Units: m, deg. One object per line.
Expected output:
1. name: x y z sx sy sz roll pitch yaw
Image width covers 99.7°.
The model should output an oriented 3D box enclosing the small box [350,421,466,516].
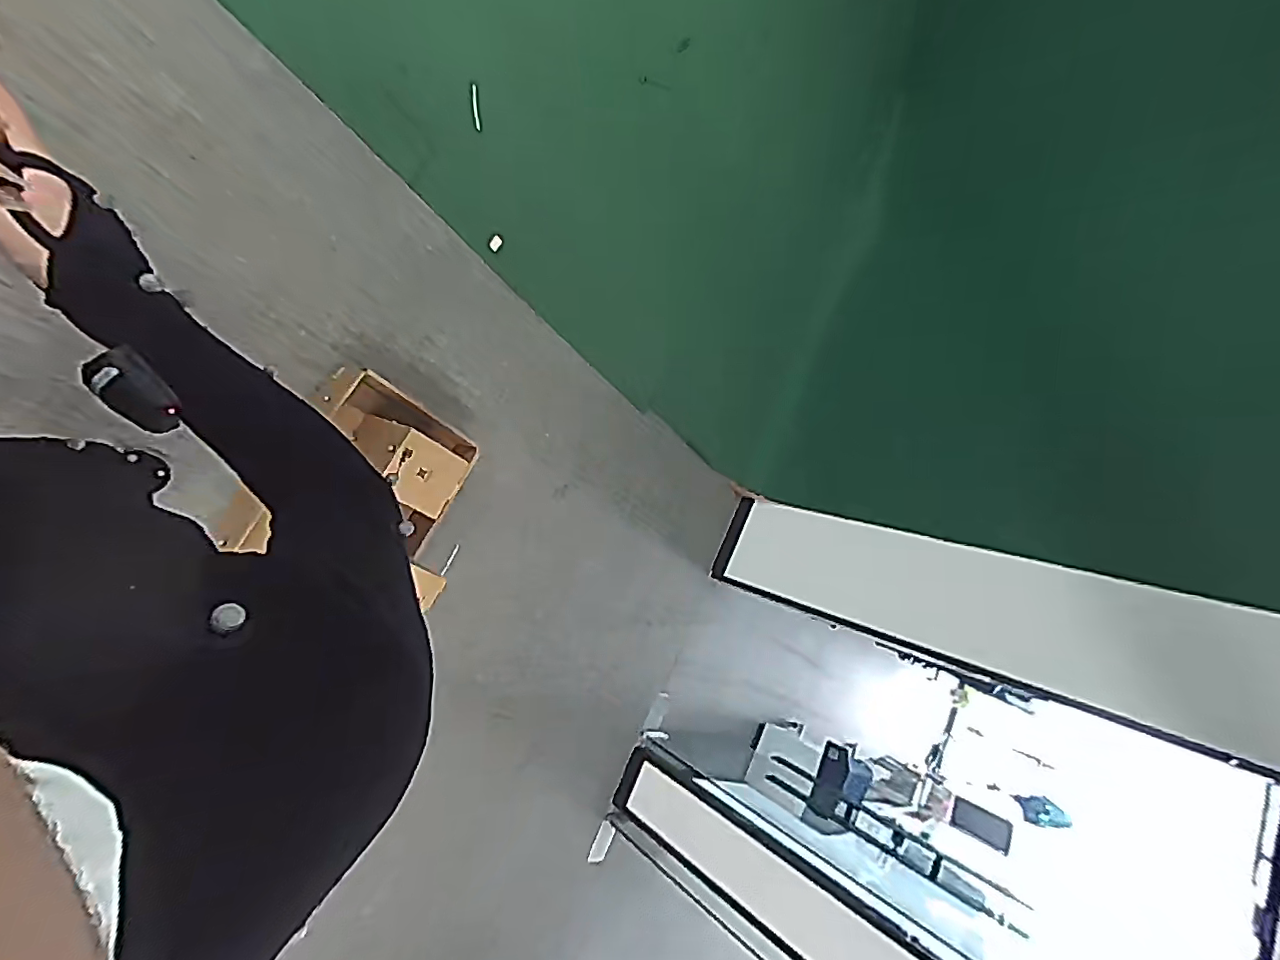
1. small box: -0.583 -0.034 1.355 0.179 0.176 0.168 40 71 -44

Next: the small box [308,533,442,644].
1. small box: -0.583 0.232 1.190 0.179 0.176 0.168 42 69 -42
